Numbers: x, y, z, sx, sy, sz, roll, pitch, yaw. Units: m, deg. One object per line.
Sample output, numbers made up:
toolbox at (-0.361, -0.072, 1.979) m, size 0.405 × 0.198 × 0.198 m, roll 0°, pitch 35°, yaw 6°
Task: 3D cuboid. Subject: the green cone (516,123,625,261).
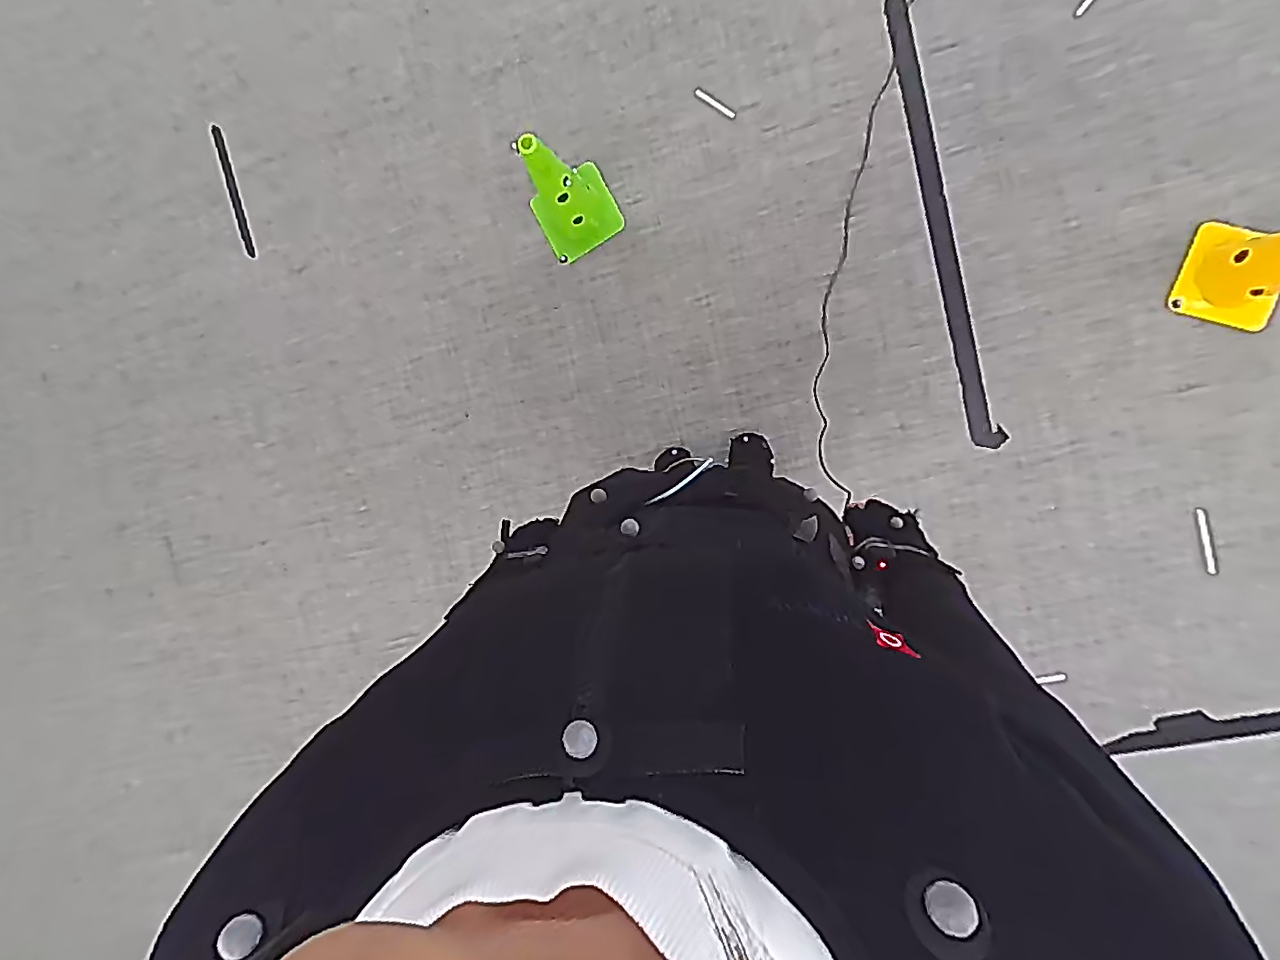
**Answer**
green cone at (-0.191, -0.693, 1.245) m, size 0.200 × 0.368 × 0.202 m, roll -29°, pitch 88°, yaw 10°
